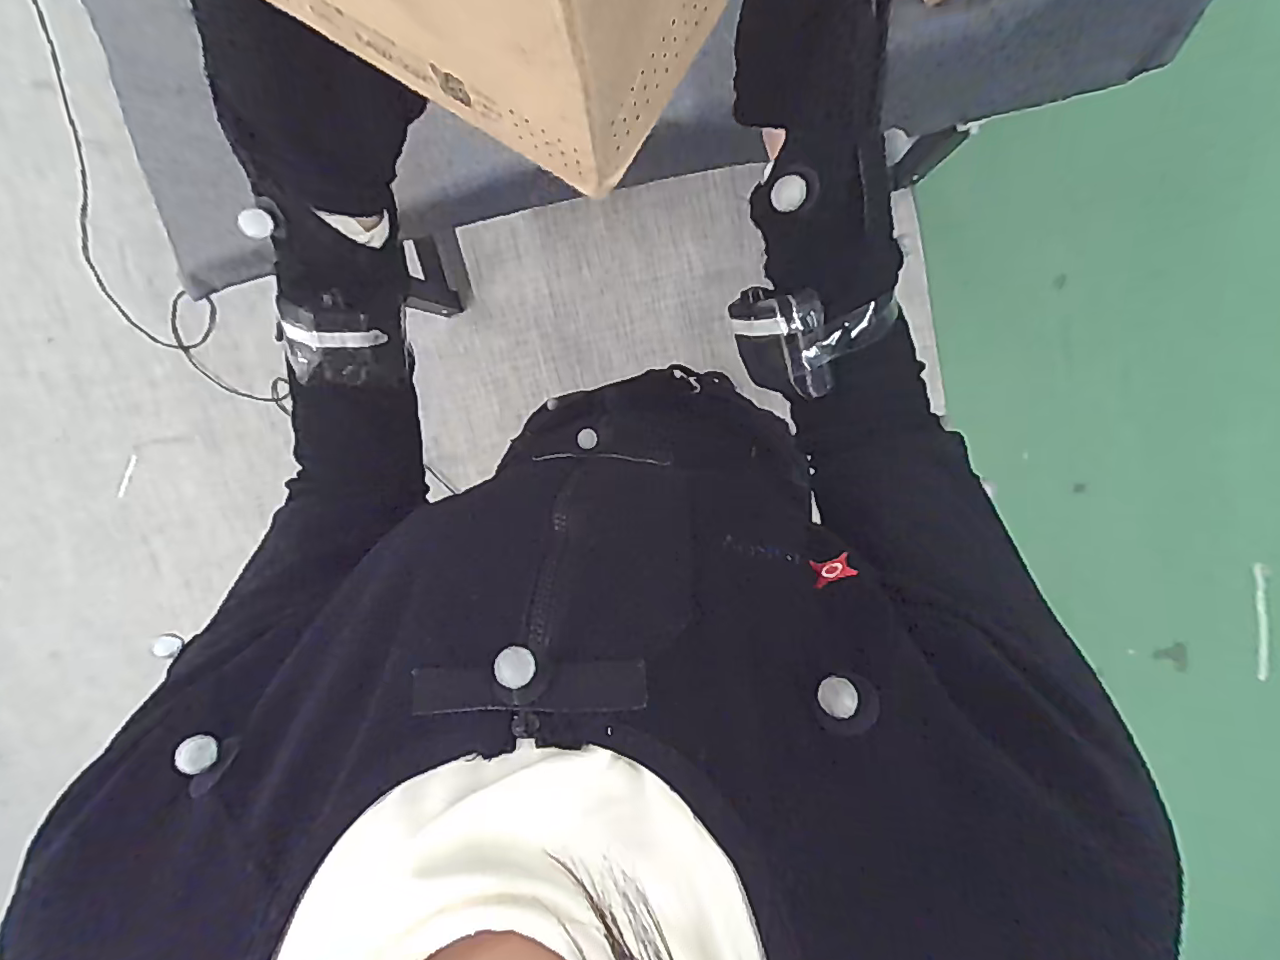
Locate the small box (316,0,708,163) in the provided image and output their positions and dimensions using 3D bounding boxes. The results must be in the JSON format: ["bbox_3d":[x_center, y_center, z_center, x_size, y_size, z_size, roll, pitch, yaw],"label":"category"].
[{"bbox_3d":[-0.042,-0.228,0.132,0.168,0.176,0.179,32,91,3],"label":"small box"}]
